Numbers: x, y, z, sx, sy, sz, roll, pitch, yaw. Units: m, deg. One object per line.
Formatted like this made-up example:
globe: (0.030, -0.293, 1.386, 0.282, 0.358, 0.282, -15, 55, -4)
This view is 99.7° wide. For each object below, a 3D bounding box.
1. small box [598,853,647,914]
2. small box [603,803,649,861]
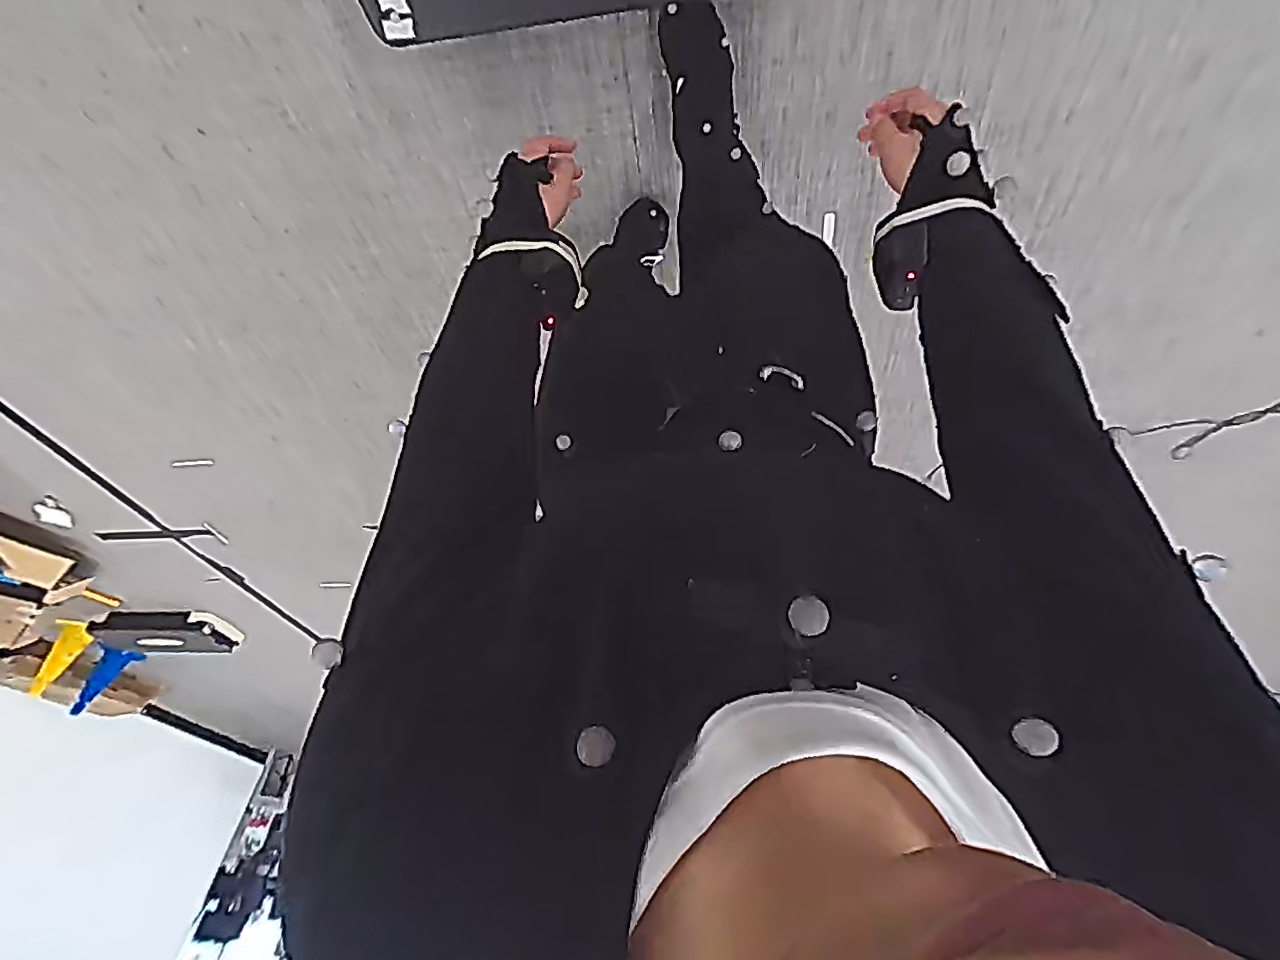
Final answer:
small box: (-0.061, 1.531, 2.052, 0.168, 0.176, 0.179, -2, 138, 4)
small box: (-0.050, 1.408, 2.161, 0.168, 0.176, 0.179, -1, 138, 5)
